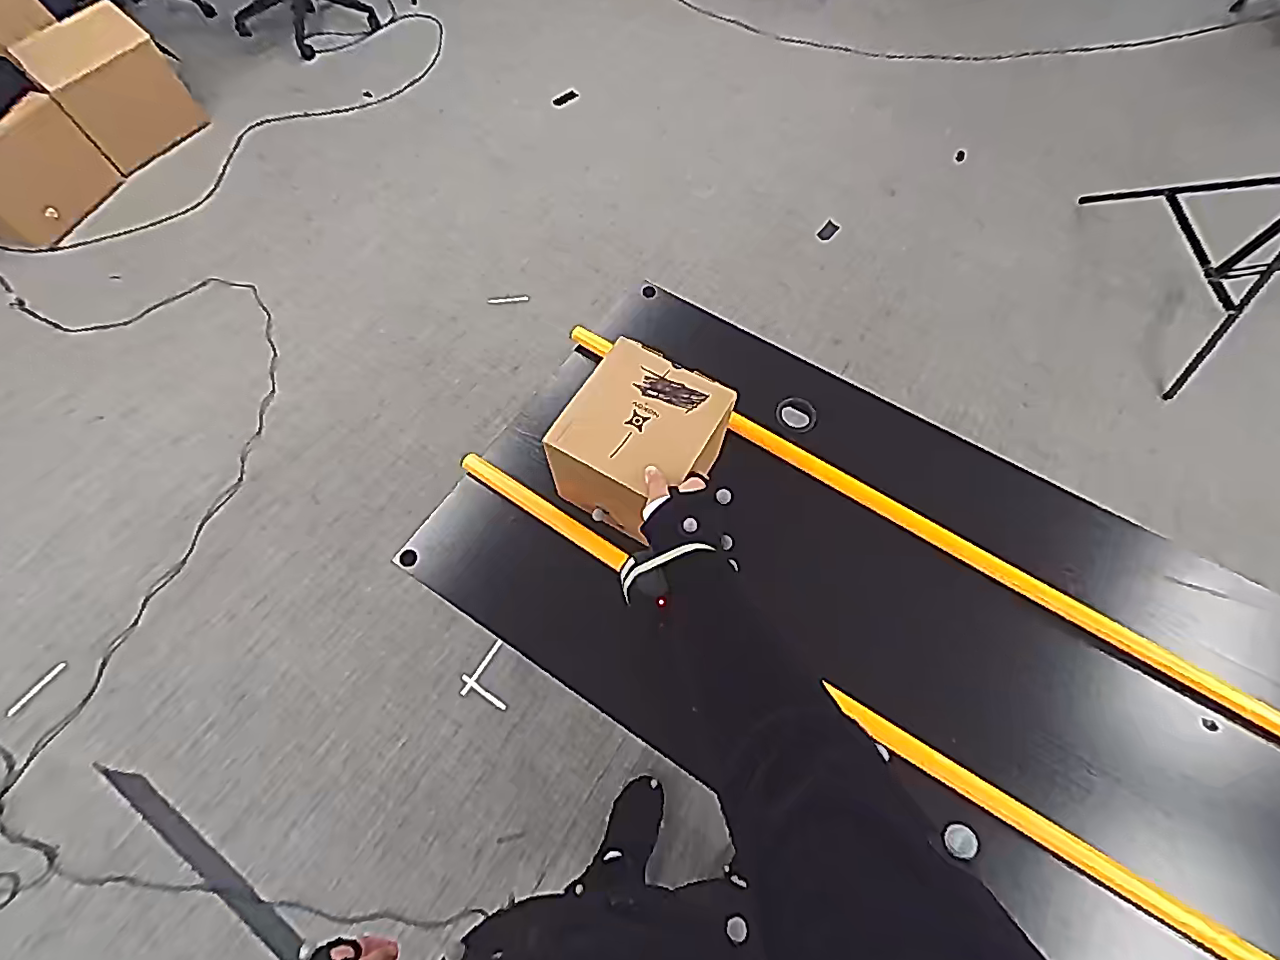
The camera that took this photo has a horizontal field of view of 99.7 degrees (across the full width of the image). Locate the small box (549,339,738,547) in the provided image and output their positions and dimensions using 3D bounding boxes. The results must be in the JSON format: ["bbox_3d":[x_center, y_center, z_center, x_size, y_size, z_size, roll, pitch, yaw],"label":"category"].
[{"bbox_3d":[0.005,-0.041,0.706,0.168,0.176,0.179,29,69,12],"label":"small box"}]
